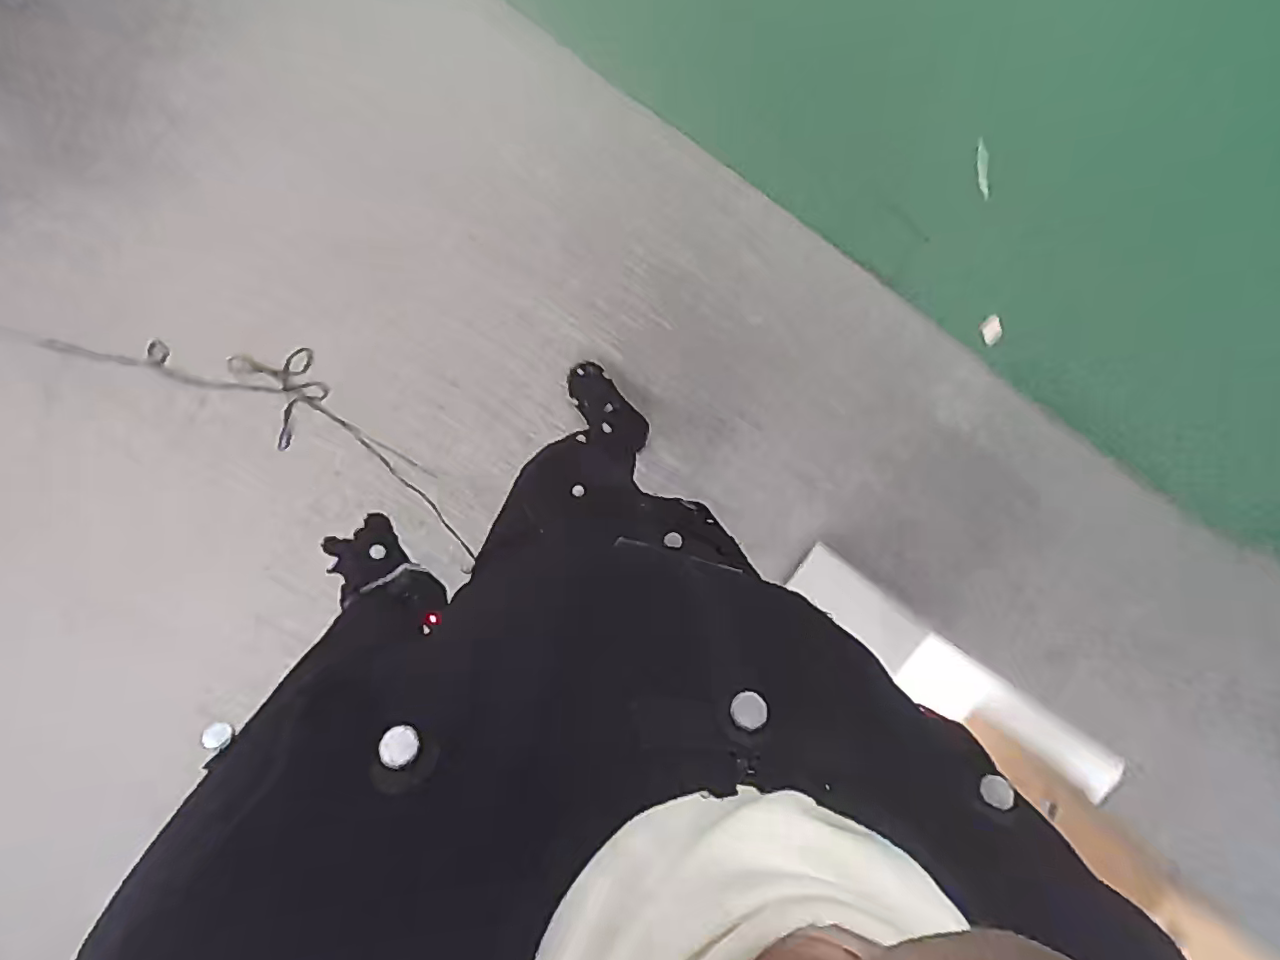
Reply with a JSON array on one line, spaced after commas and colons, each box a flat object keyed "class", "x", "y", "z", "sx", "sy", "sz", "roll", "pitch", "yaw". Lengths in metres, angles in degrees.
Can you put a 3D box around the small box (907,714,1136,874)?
[{"class": "small box", "x": 0.538, "y": 0.482, "z": 0.789, "sx": 0.179, "sy": 0.176, "sz": 0.168, "roll": 34, "pitch": 97, "yaw": -2}]
